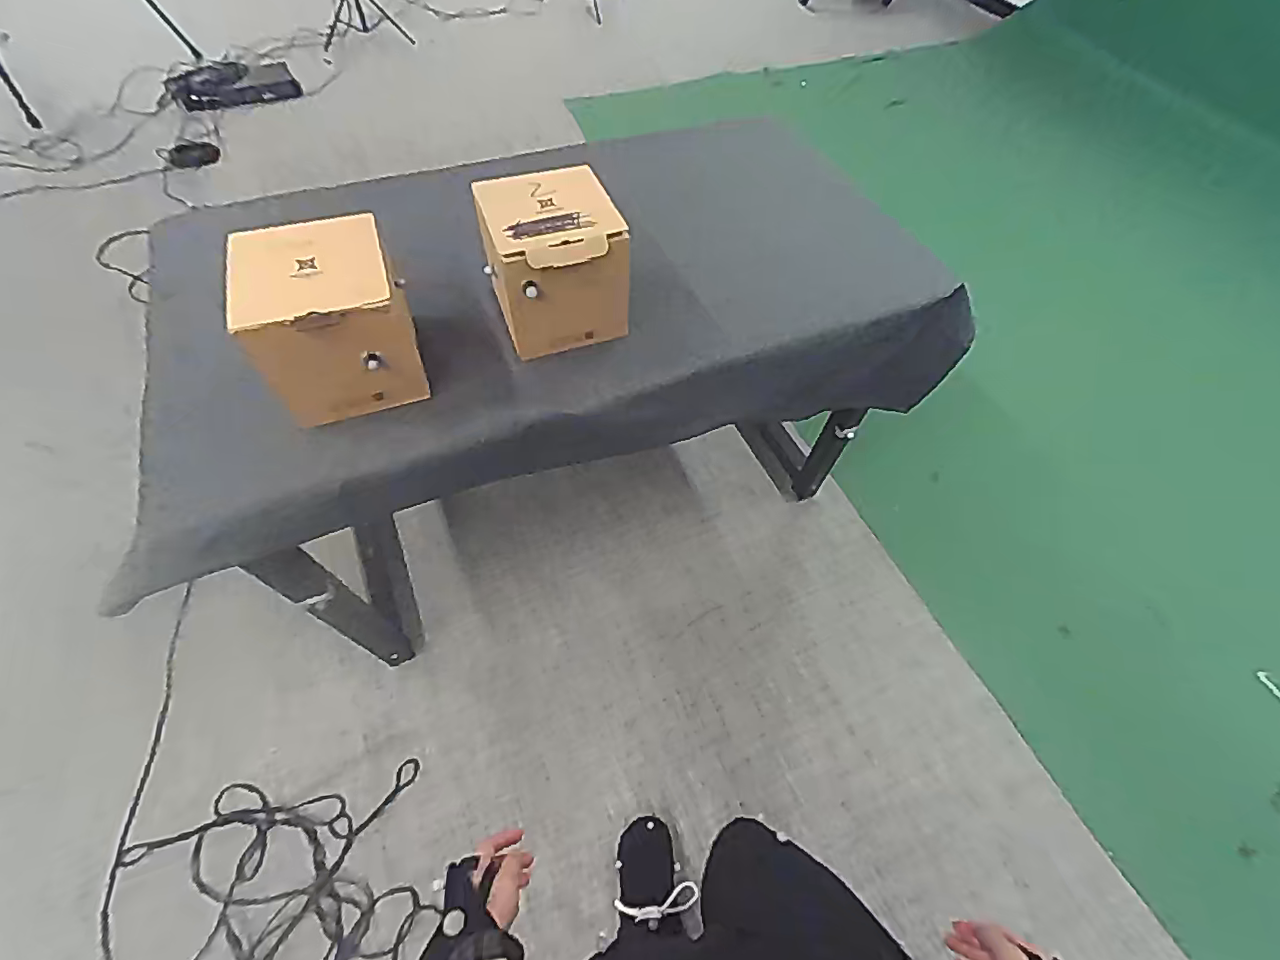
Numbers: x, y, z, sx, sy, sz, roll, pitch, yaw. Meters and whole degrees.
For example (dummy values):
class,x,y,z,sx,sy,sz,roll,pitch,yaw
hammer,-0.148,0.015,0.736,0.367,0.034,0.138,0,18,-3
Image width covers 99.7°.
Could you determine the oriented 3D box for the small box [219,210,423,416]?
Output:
class,x,y,z,sx,sy,sz,roll,pitch,yaw
small box,-0.385,-0.200,0.674,0.168,0.176,0.179,-16,59,-15
